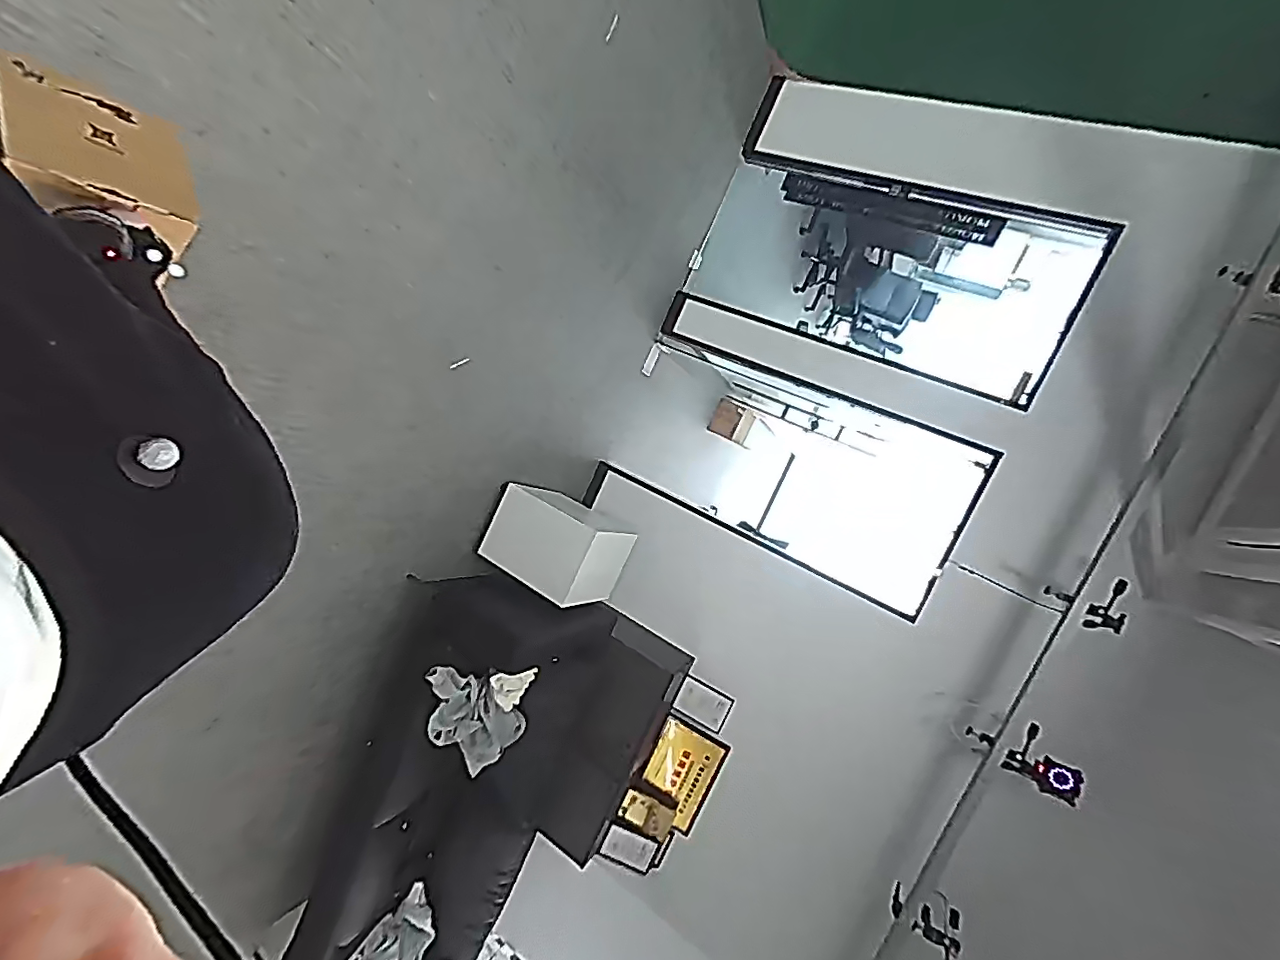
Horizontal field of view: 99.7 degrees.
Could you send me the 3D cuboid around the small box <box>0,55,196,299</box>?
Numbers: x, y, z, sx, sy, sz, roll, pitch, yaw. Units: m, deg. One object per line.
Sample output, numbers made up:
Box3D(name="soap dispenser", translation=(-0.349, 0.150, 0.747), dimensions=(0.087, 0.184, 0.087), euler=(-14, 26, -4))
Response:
Box3D(name="small box", translation=(-0.698, -0.357, 0.672), dimensions=(0.176, 0.179, 0.168), euler=(-33, 166, 27))
